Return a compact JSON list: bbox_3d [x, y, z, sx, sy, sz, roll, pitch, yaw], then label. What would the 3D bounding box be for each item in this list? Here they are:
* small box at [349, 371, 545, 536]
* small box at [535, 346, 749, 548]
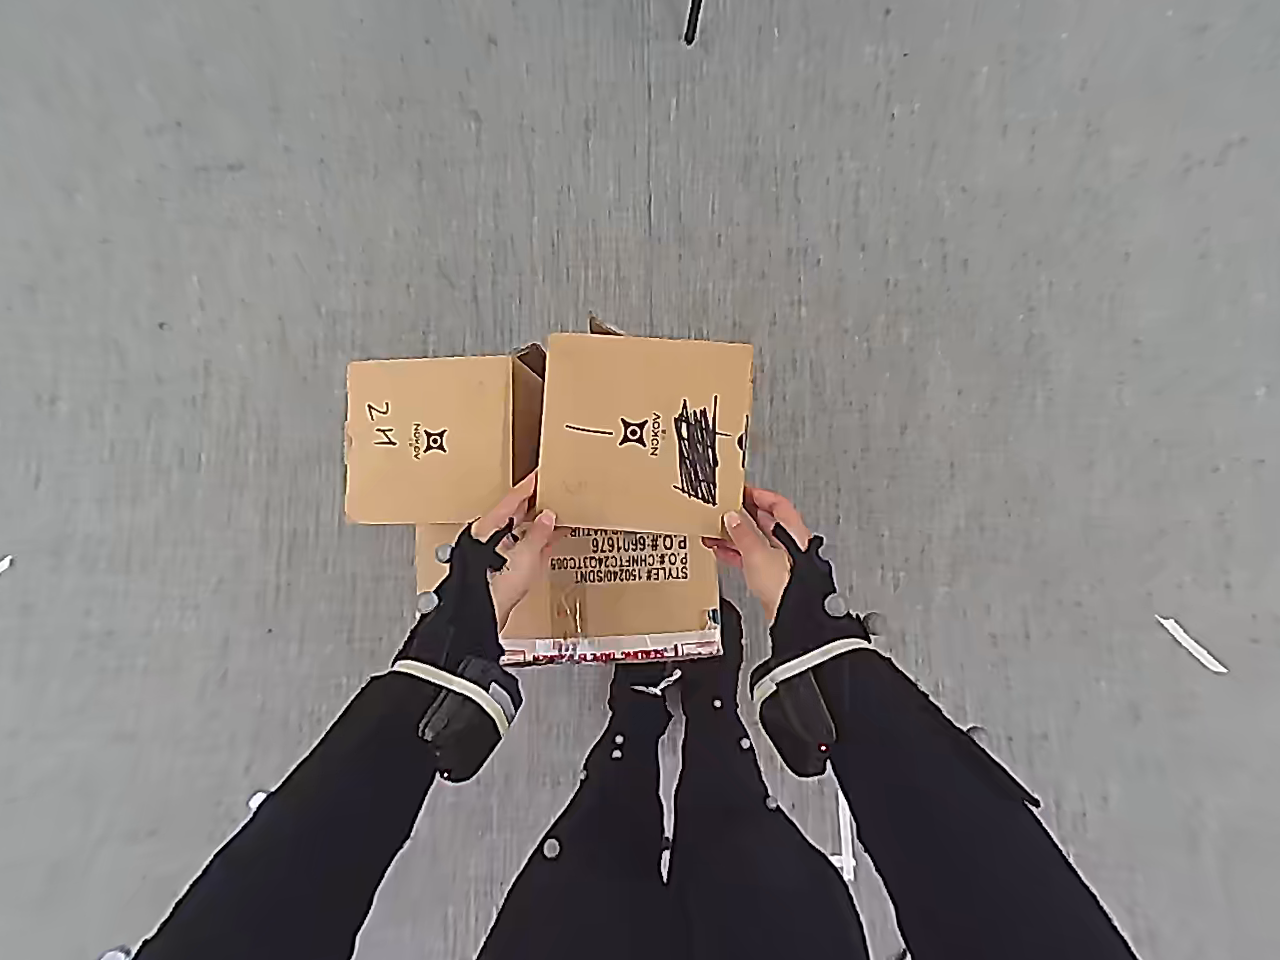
[{"bbox_3d":[-0.198,-0.022,0.618,0.179,0.176,0.168,-1,86,6],"label":"small box"},{"bbox_3d":[0.004,-0.028,0.543,0.179,0.176,0.168,4,89,3],"label":"small box"}]
